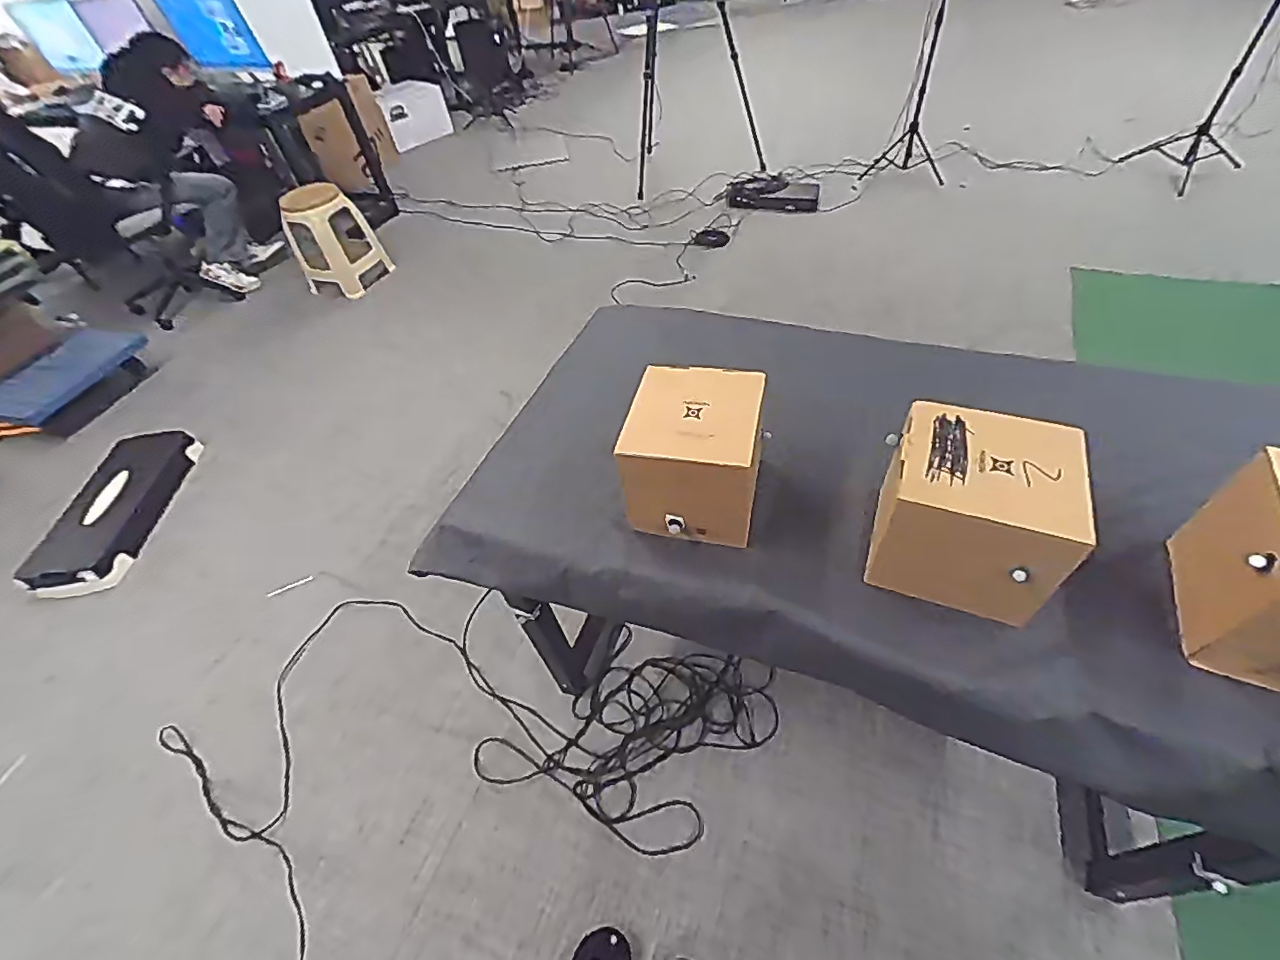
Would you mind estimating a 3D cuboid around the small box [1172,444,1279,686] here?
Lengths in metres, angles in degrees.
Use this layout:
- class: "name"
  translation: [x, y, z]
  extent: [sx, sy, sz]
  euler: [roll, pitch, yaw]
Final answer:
- class: "small box"
  translation: [0.683, 0.097, 0.537]
  extent: [0.168, 0.176, 0.179]
  euler: [16, 53, 21]

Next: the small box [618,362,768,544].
- class: "small box"
  translation: [0.080, -0.038, 0.743]
  extent: [0.168, 0.176, 0.179]
  euler: [6, 51, 14]
